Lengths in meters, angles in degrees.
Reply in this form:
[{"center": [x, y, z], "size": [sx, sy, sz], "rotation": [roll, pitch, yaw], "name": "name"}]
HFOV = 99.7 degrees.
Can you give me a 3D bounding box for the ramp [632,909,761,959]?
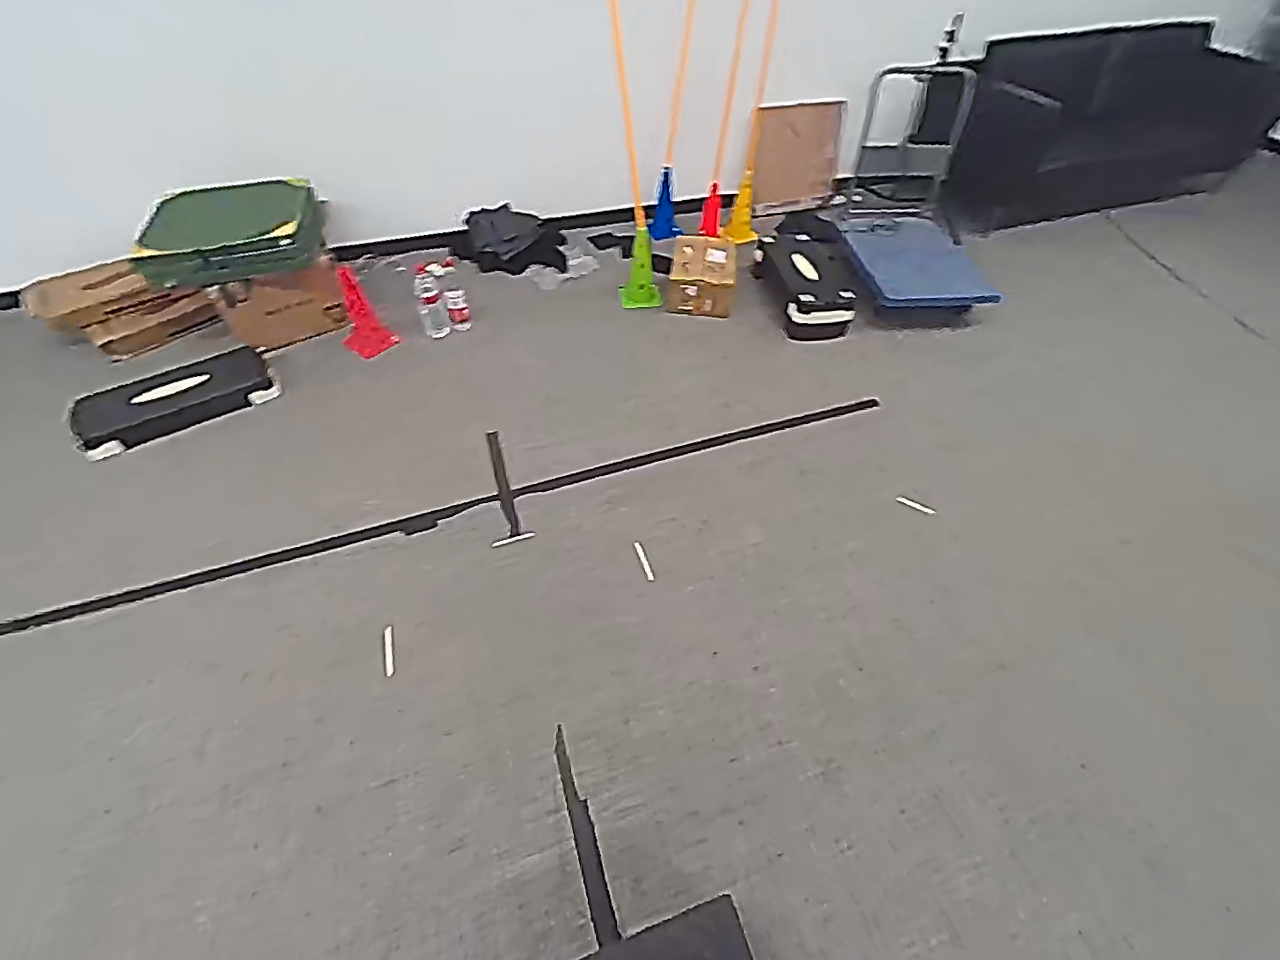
[{"center": [0.144, 1.298, 0.767], "size": [0.509, 0.206, 0.991], "rotation": [-16, 51, -16], "name": "ramp"}]
